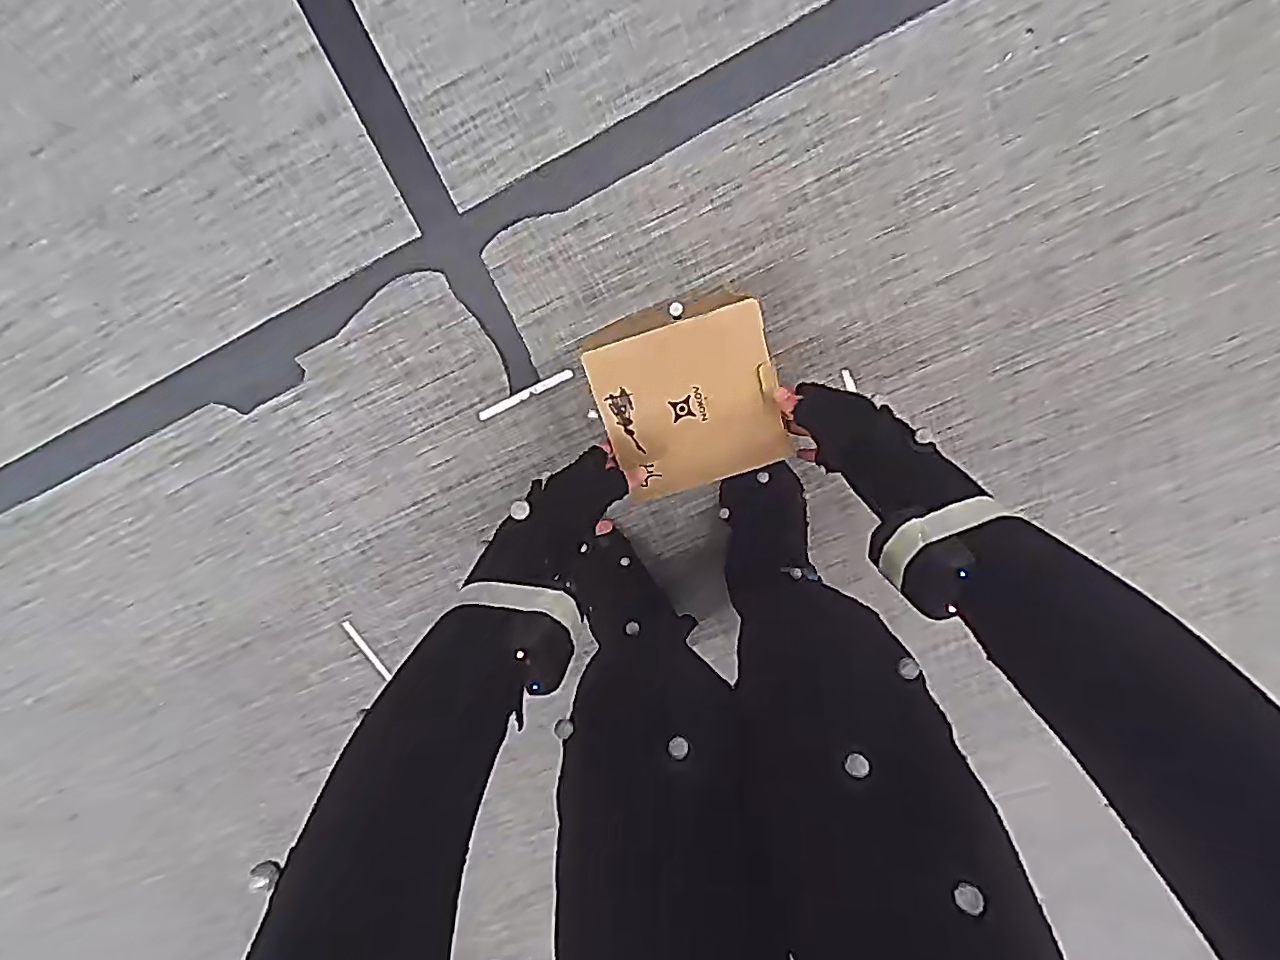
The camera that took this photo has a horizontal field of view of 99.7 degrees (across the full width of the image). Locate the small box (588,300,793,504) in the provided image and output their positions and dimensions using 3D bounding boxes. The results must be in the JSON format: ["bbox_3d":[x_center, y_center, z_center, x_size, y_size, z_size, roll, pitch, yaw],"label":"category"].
[{"bbox_3d":[0.050,-0.098,0.607,0.179,0.176,0.168,-16,109,4],"label":"small box"}]
